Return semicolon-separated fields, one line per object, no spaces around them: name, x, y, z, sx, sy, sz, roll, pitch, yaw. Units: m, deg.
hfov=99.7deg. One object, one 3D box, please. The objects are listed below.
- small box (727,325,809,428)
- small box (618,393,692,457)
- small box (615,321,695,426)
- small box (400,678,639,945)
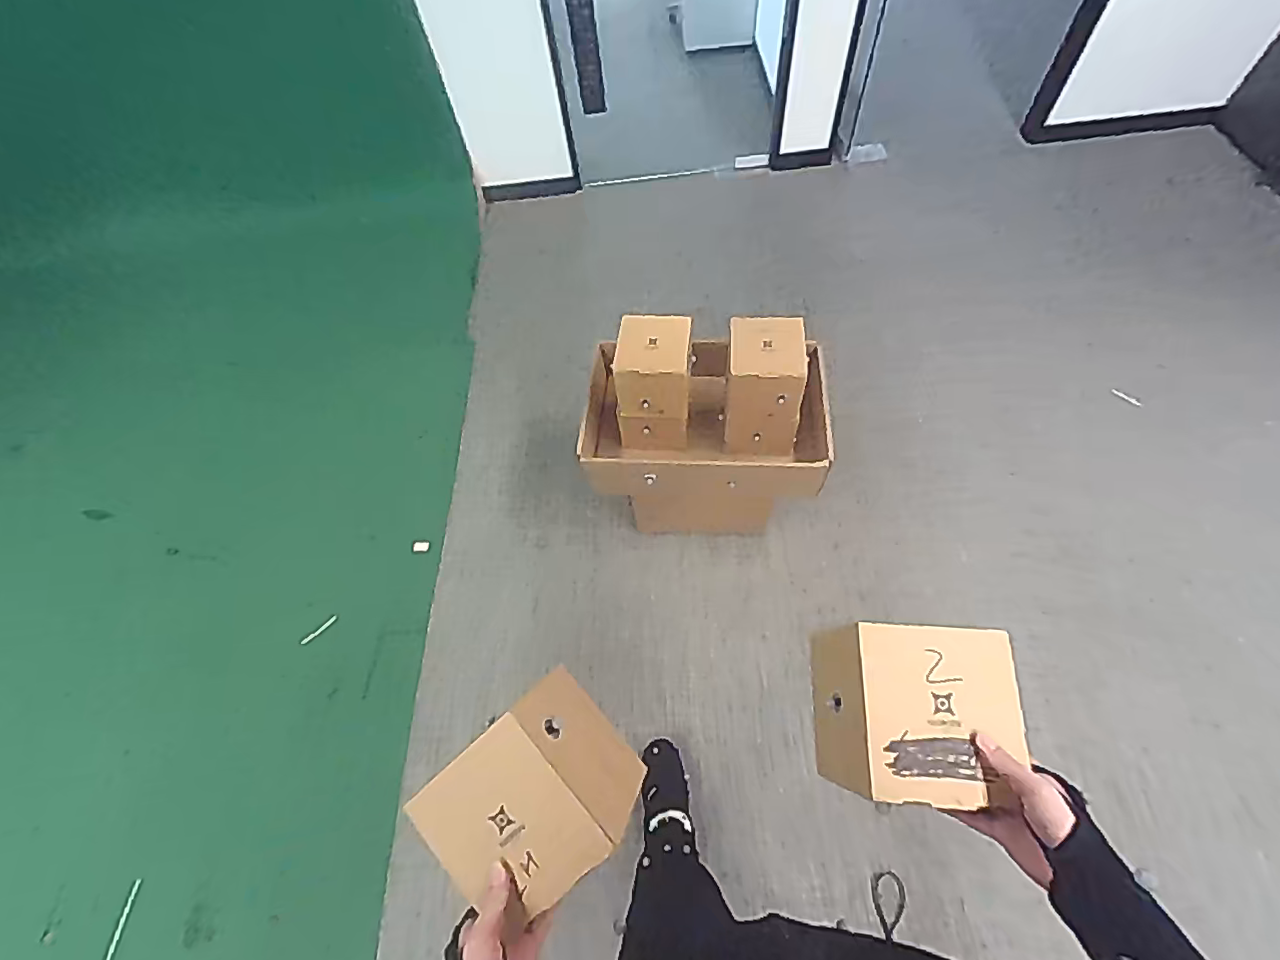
small box;0.293;-0.238;1.259;0.168;0.176;0.179;3;59;6
small box;0.046;-0.173;1.438;0.179;0.176;0.168;4;59;7
small box;0.040;-0.254;1.295;0.168;0.176;0.179;4;60;7
small box;-0.125;0.353;0.622;0.168;0.176;0.179;-42;80;6
